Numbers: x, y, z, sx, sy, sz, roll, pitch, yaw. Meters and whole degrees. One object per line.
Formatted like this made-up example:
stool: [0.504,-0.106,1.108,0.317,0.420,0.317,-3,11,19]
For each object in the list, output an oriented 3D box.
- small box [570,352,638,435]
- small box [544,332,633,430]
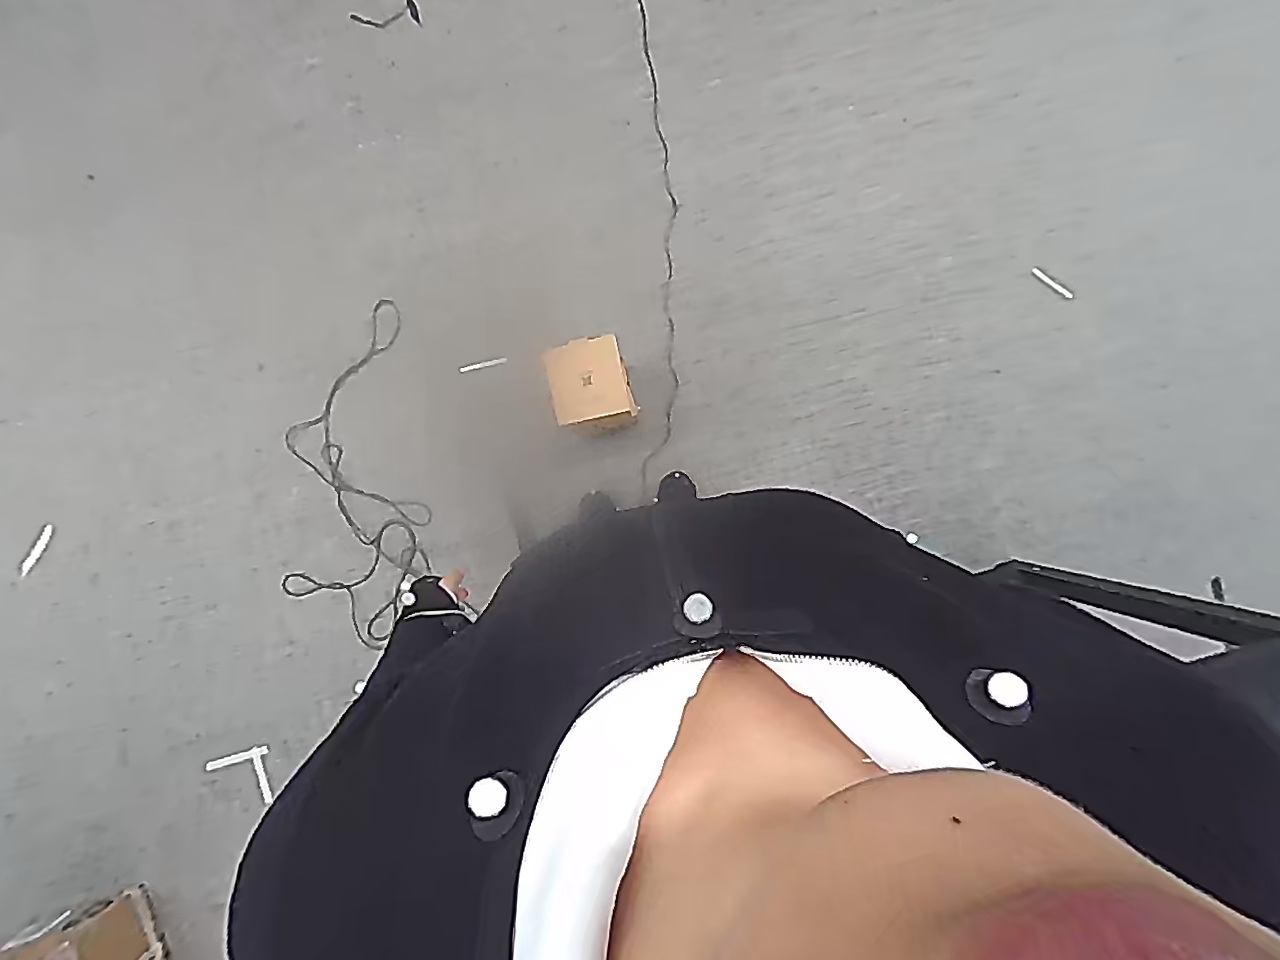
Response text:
small box: [-0.108,-0.221,1.421,0.179,0.176,0.168,-15,90,1]
small box: [-0.115,-0.224,1.259,0.168,0.176,0.179,-13,91,1]
